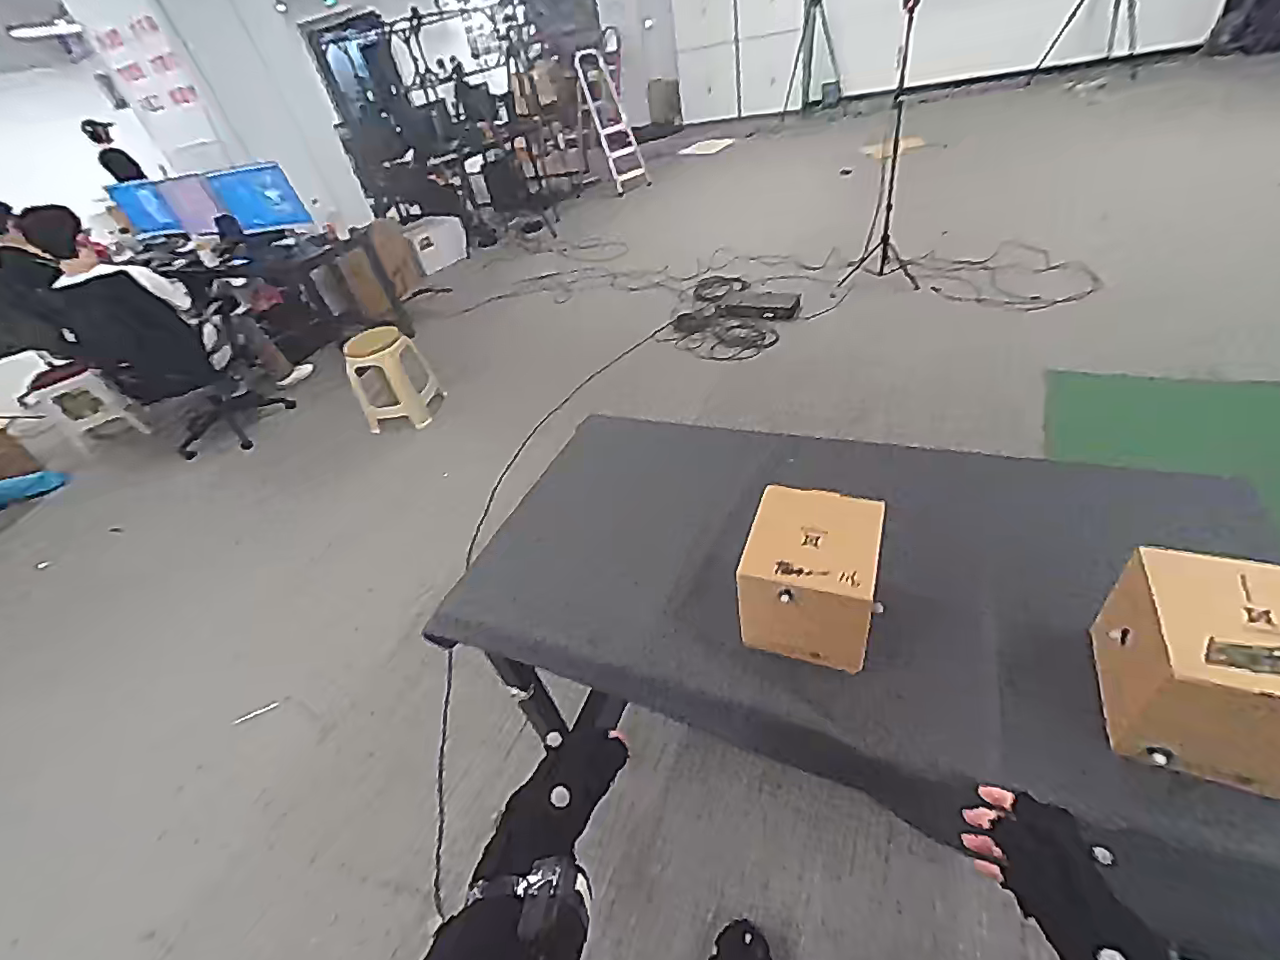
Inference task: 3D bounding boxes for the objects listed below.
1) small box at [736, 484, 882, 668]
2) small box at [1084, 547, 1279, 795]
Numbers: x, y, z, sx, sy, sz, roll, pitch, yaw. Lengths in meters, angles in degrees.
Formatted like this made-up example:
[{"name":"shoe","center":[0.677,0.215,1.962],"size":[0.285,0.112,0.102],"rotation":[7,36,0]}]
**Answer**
[{"name":"small box","center":[0.242,0.134,0.777],"size":[0.168,0.176,0.179],"rotation":[9,43,24]},{"name":"small box","center":[0.621,0.204,0.592],"size":[0.168,0.176,0.179],"rotation":[9,43,25]}]
